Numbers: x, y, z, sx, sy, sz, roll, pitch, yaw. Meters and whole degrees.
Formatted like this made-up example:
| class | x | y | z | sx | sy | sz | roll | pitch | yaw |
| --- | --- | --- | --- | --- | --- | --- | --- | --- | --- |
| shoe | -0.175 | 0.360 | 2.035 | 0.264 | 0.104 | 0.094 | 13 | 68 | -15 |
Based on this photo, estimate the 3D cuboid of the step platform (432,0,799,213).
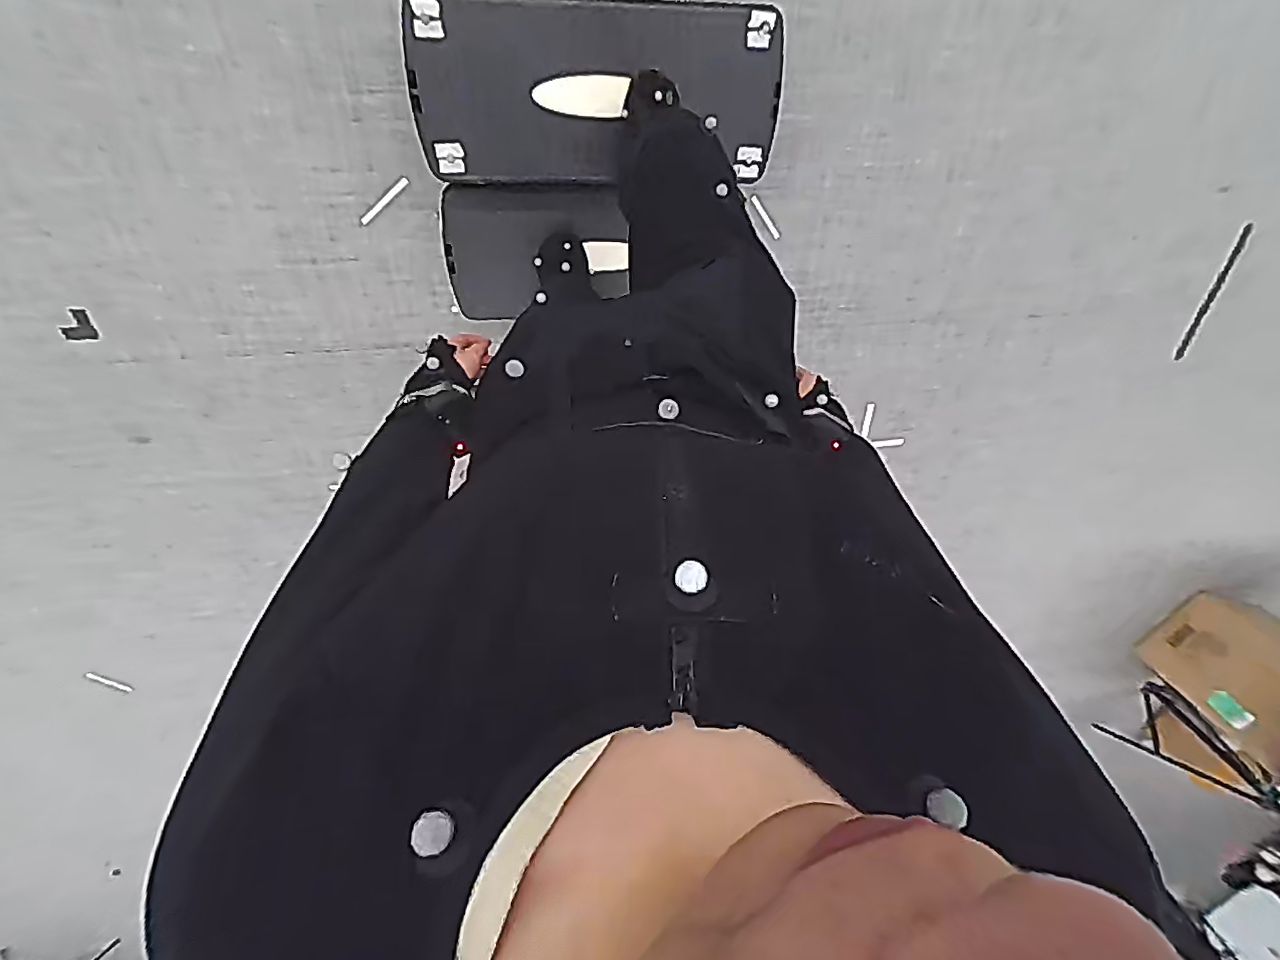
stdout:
| class | x | y | z | sx | sy | sz | roll | pitch | yaw |
| --- | --- | --- | --- | --- | --- | --- | --- | --- | --- |
| step platform | -0.044 | -0.708 | 1.063 | 0.684 | 0.204 | 0.286 | -1 | 122 | -10 |
